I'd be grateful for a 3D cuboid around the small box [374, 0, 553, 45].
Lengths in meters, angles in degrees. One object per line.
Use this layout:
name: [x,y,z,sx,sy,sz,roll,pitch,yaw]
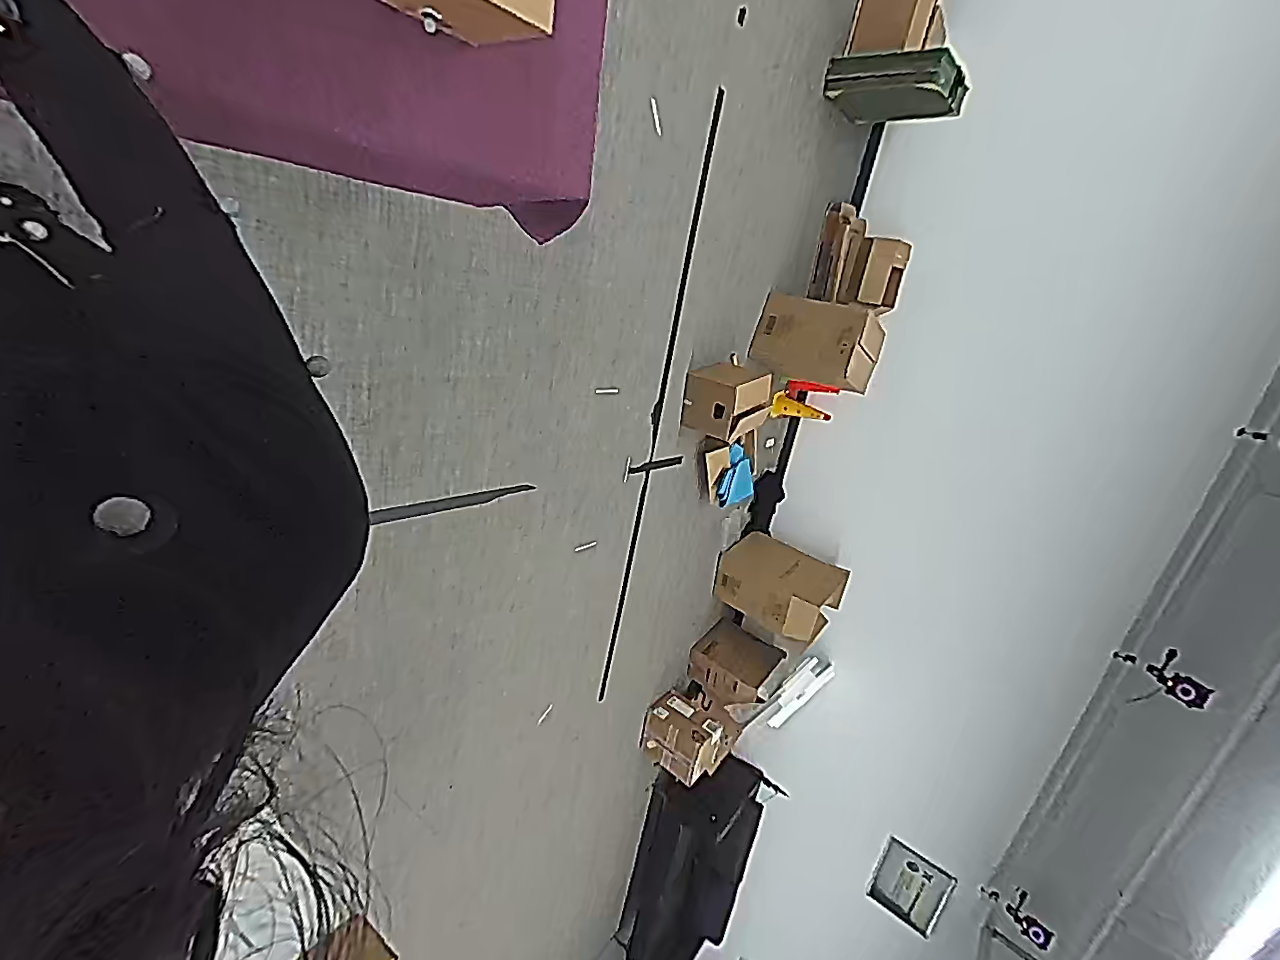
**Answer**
small box: [-0.217,-0.662,0.648,0.168,0.176,0.179,-19,125,-49]
